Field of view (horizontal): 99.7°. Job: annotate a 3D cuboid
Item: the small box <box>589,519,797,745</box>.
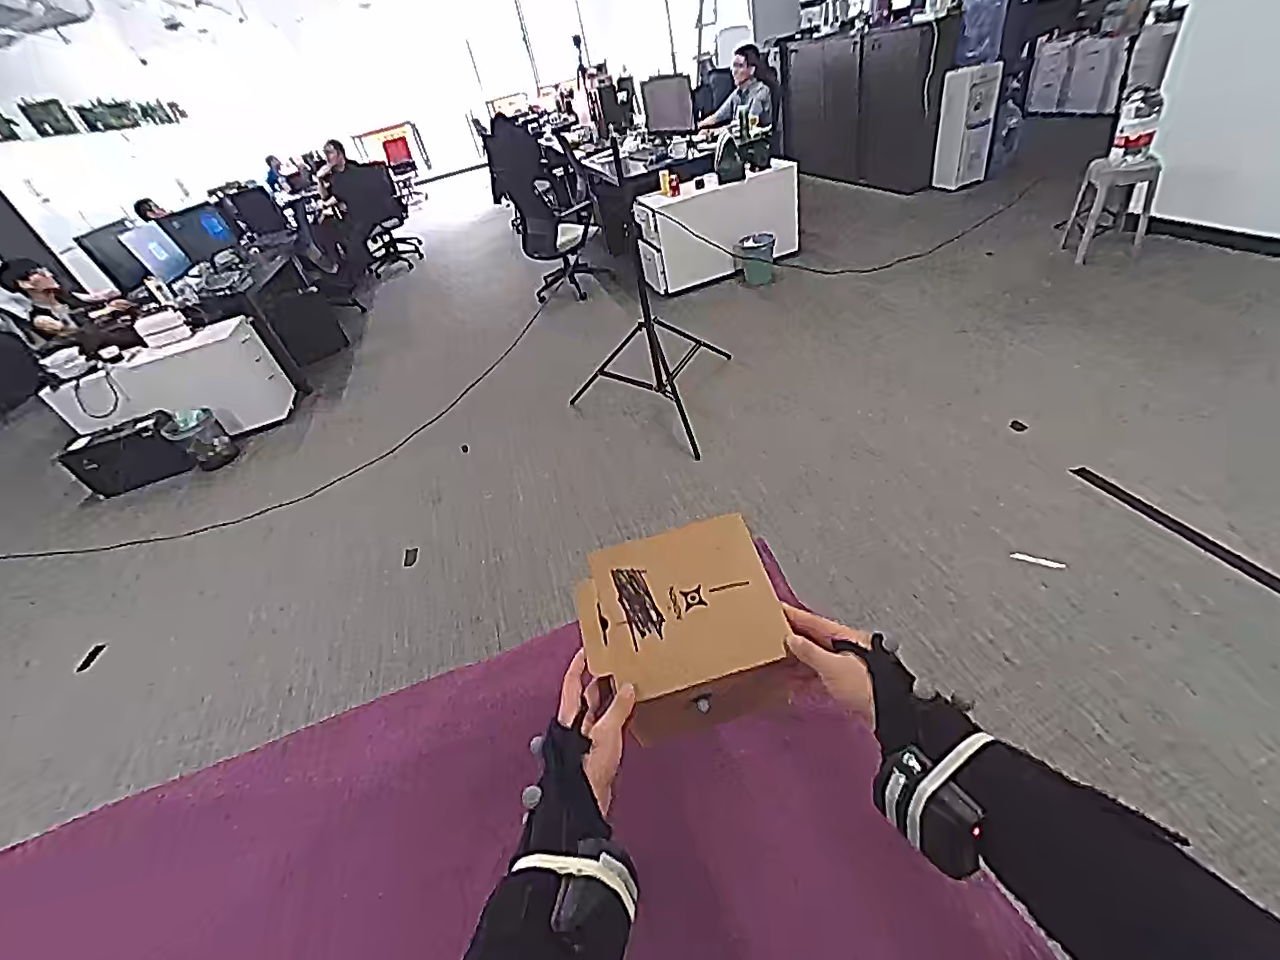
[{"bbox_3d":[0.056,0.174,0.602,0.179,0.176,0.168,-16,52,-3],"label":"small box"}]
